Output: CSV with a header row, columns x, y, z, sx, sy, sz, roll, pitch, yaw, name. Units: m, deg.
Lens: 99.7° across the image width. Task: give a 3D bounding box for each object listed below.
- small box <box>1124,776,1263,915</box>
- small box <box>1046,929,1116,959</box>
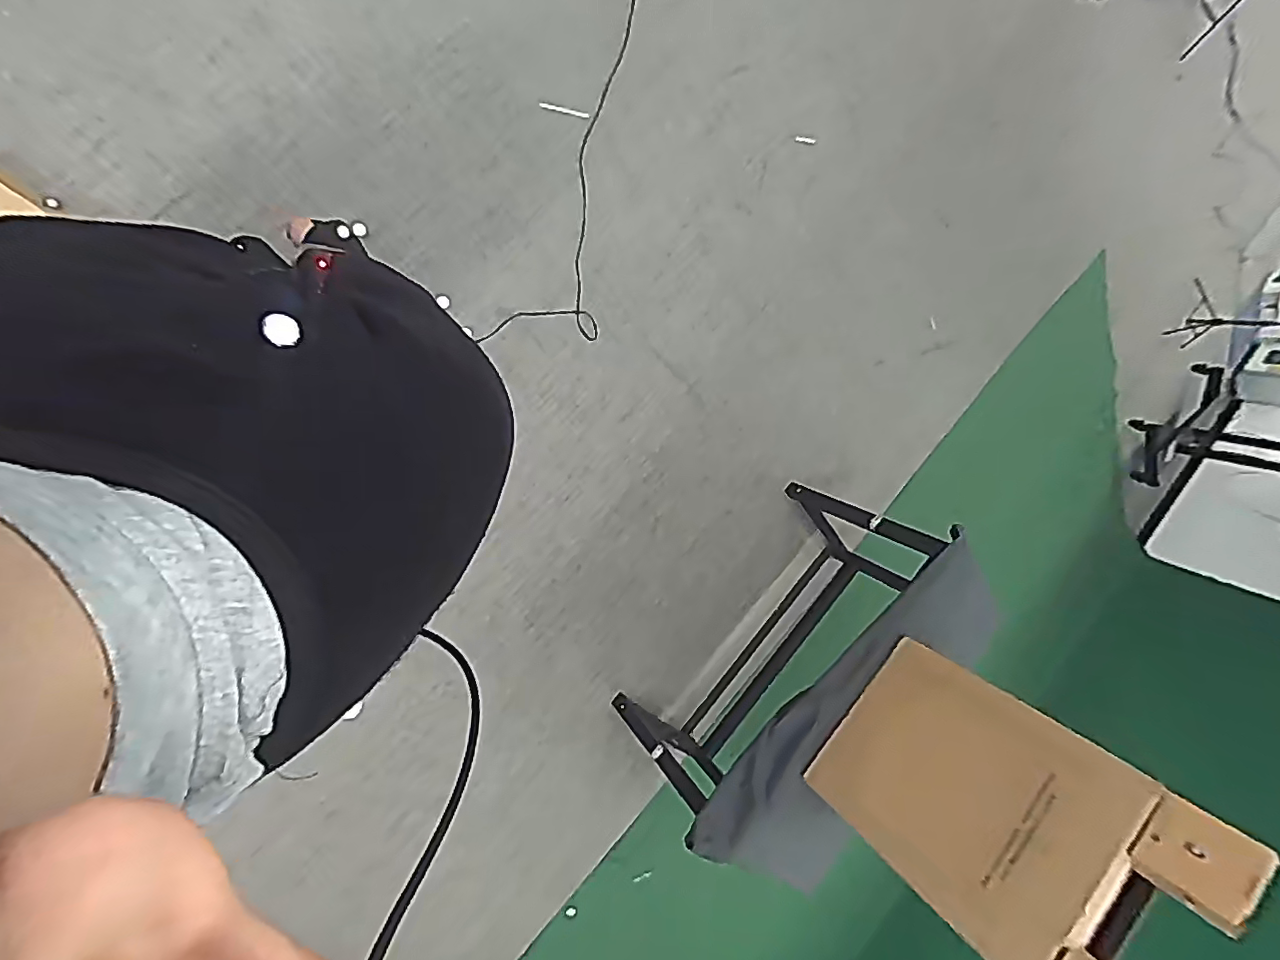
x,y,z,sx,sy,sz,roll,pitch,yaw,name
1.182,0.778,1.163,0.168,0.176,0.179,-50,125,-9,small box
0.931,1.064,1.103,0.179,0.176,0.168,35,88,-37,small box
